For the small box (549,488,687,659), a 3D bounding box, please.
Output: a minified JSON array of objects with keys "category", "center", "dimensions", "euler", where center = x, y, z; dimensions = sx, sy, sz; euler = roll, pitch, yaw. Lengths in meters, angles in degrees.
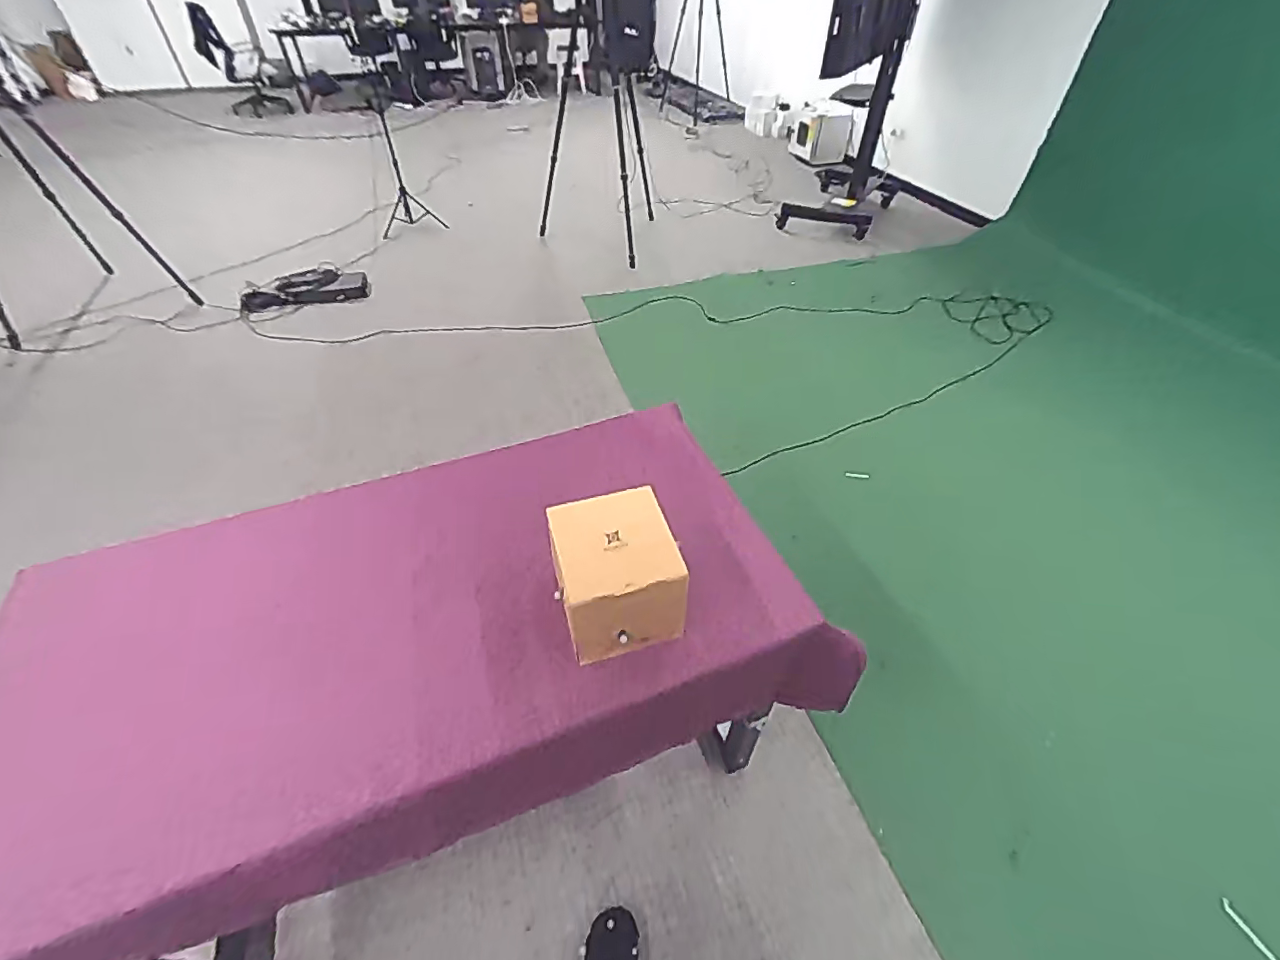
[{"category":"small box","center":[-0.038,0.142,0.828],"dimensions":[0.168,0.176,0.179],"euler":[-12,47,-12]}]
